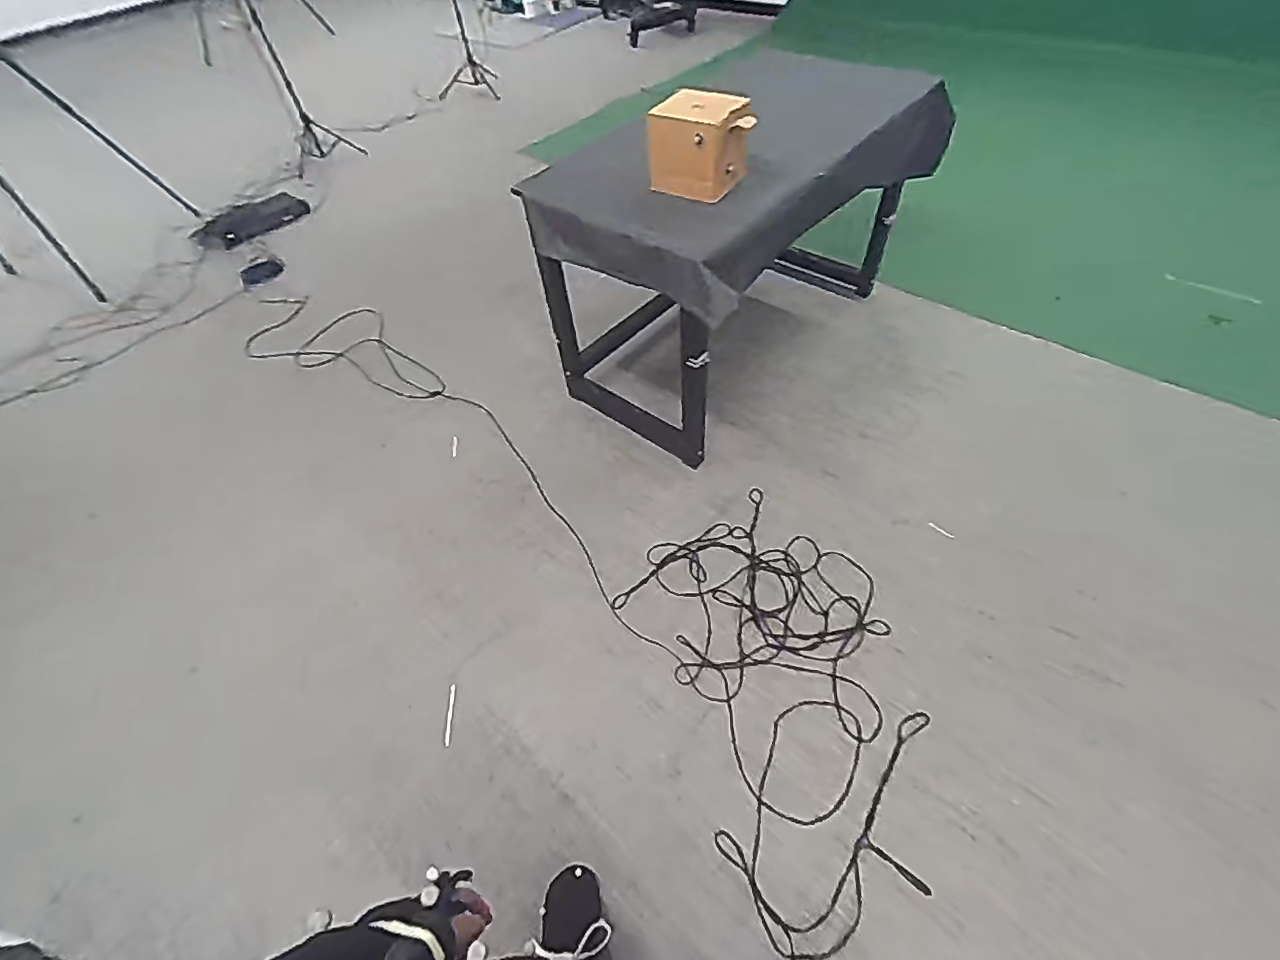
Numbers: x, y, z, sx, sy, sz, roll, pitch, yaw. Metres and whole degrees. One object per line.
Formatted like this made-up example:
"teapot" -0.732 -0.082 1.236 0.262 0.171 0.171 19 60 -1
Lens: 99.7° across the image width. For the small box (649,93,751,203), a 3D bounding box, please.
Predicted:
"small box" 0.138 -0.774 1.264 0.179 0.176 0.168 25 58 22
